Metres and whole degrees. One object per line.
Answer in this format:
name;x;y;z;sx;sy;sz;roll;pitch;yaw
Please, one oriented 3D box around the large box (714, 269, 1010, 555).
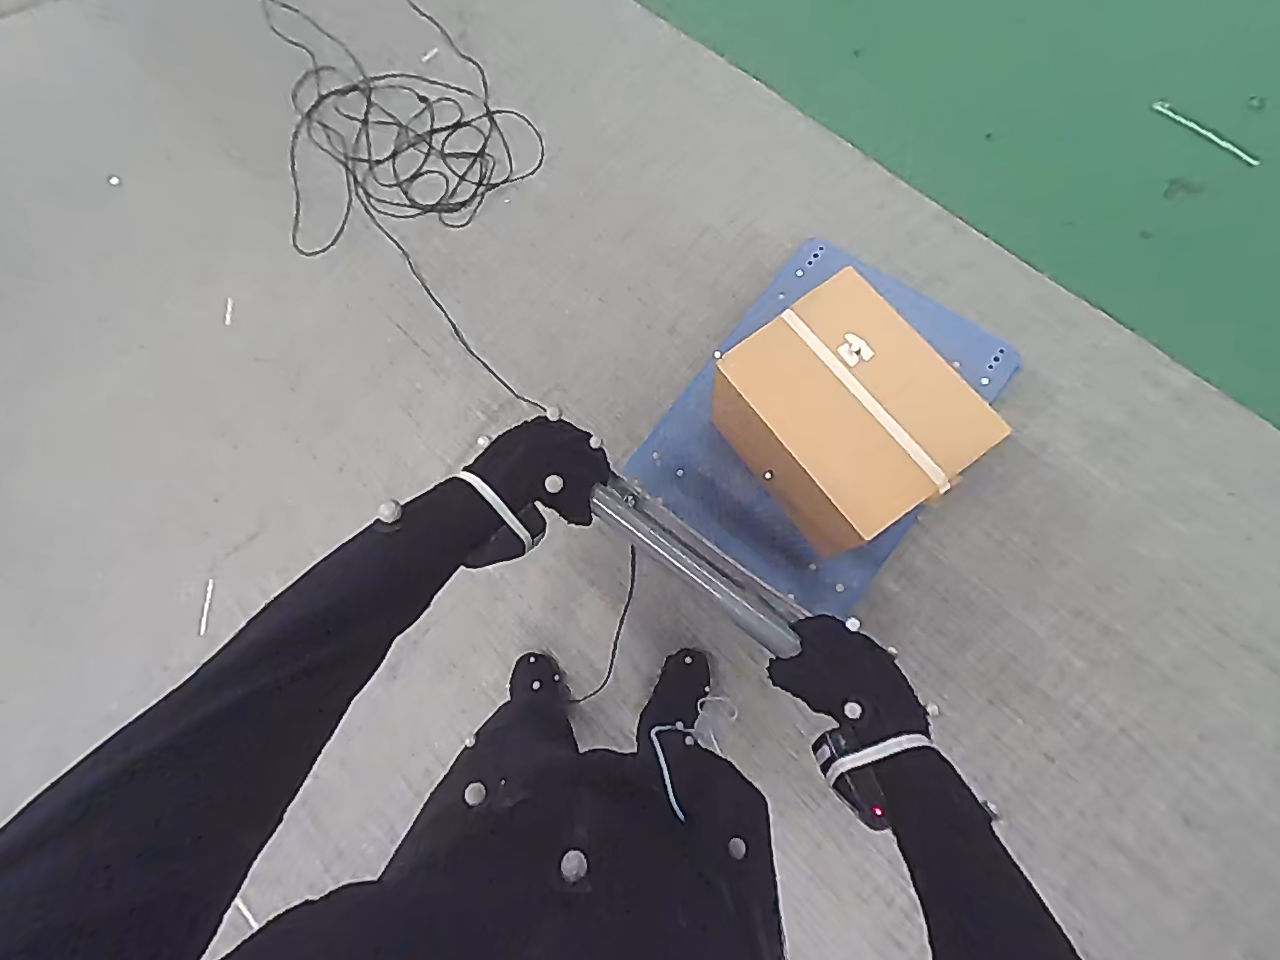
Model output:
large box;0.389;-0.110;1.066;0.320;0.320;0.408;-36;75;-3
